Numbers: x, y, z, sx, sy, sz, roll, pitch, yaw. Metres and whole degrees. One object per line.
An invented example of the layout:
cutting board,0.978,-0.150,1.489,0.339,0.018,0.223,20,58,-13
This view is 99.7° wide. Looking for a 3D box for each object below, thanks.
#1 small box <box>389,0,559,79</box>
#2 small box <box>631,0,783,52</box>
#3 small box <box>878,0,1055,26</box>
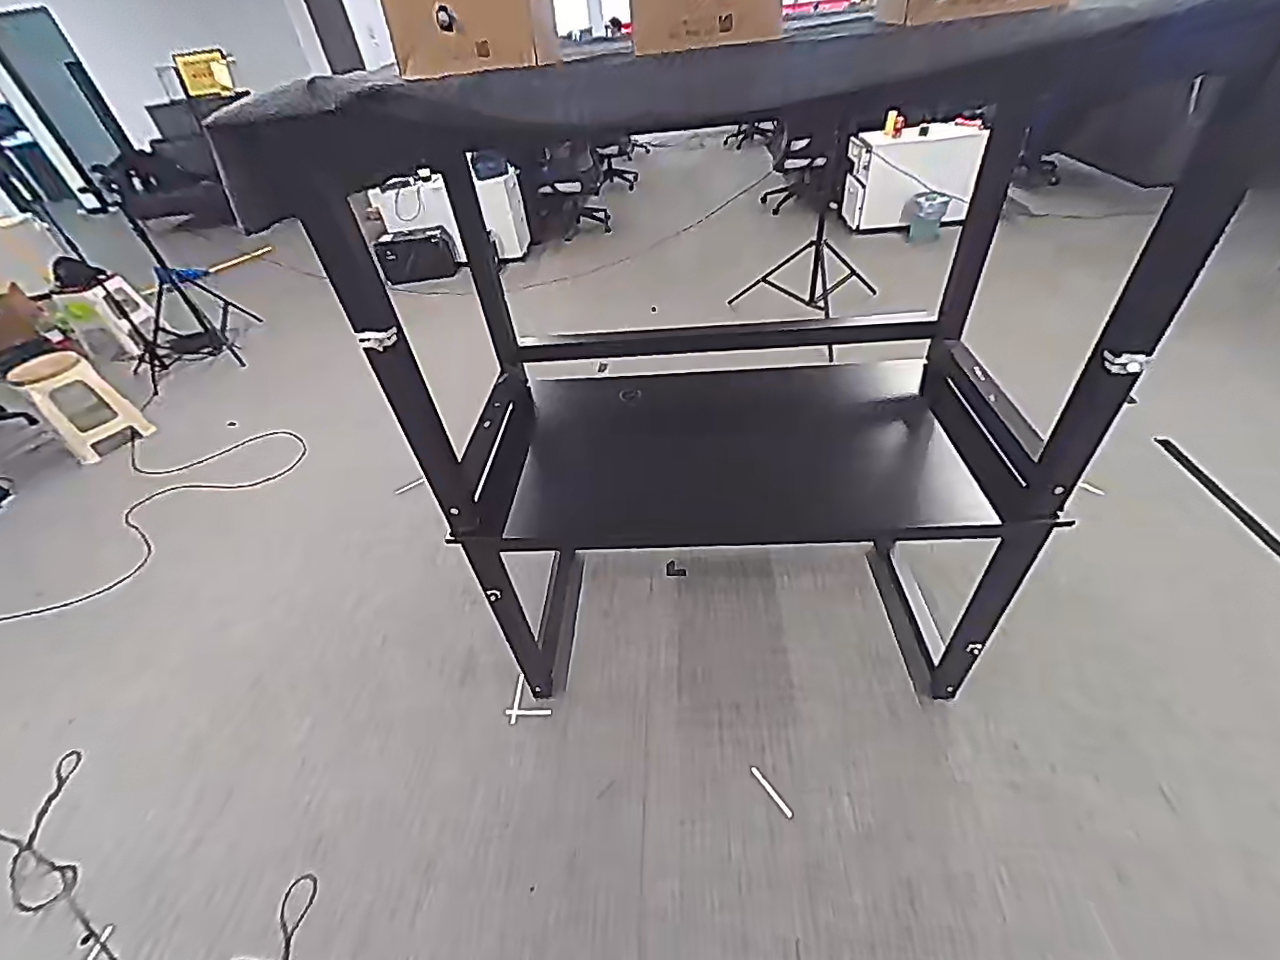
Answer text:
small box,-0.197,-0.587,0.641,0.168,0.176,0.179,-2,40,4
small box,0.074,-0.599,0.613,0.168,0.176,0.179,-2,40,7
small box,0.372,-0.613,0.586,0.168,0.176,0.179,1,40,9
